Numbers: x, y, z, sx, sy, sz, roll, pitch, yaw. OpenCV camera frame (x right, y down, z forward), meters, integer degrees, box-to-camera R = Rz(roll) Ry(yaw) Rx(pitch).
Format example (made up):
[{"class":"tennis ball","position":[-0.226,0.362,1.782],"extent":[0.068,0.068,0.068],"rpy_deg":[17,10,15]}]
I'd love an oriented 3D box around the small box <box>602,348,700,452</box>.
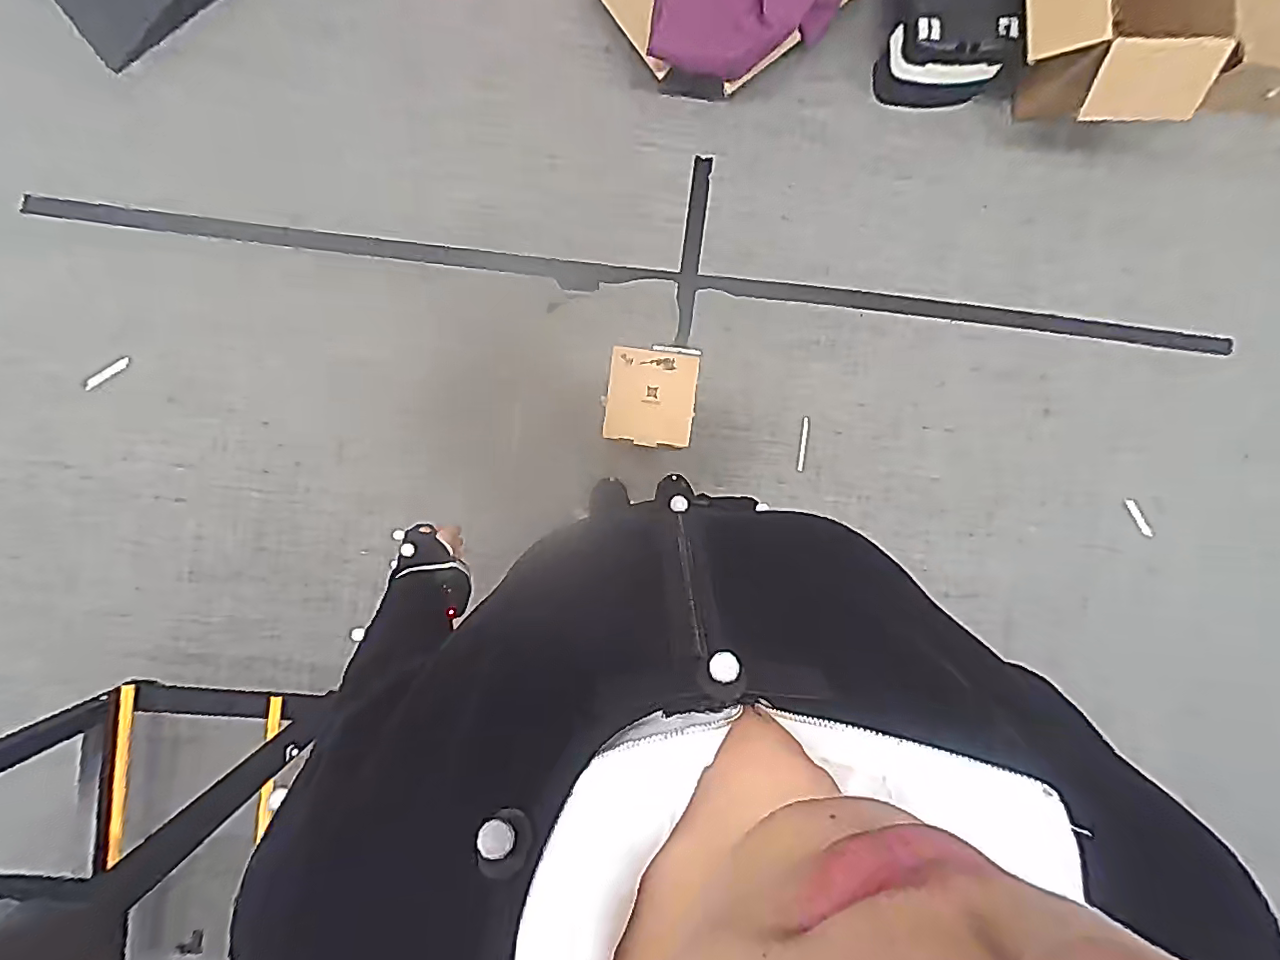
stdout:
[{"class":"small box","position":[0.019,-0.153,1.090],"extent":[0.168,0.176,0.179],"rpy_deg":[7,92,-2]}]
